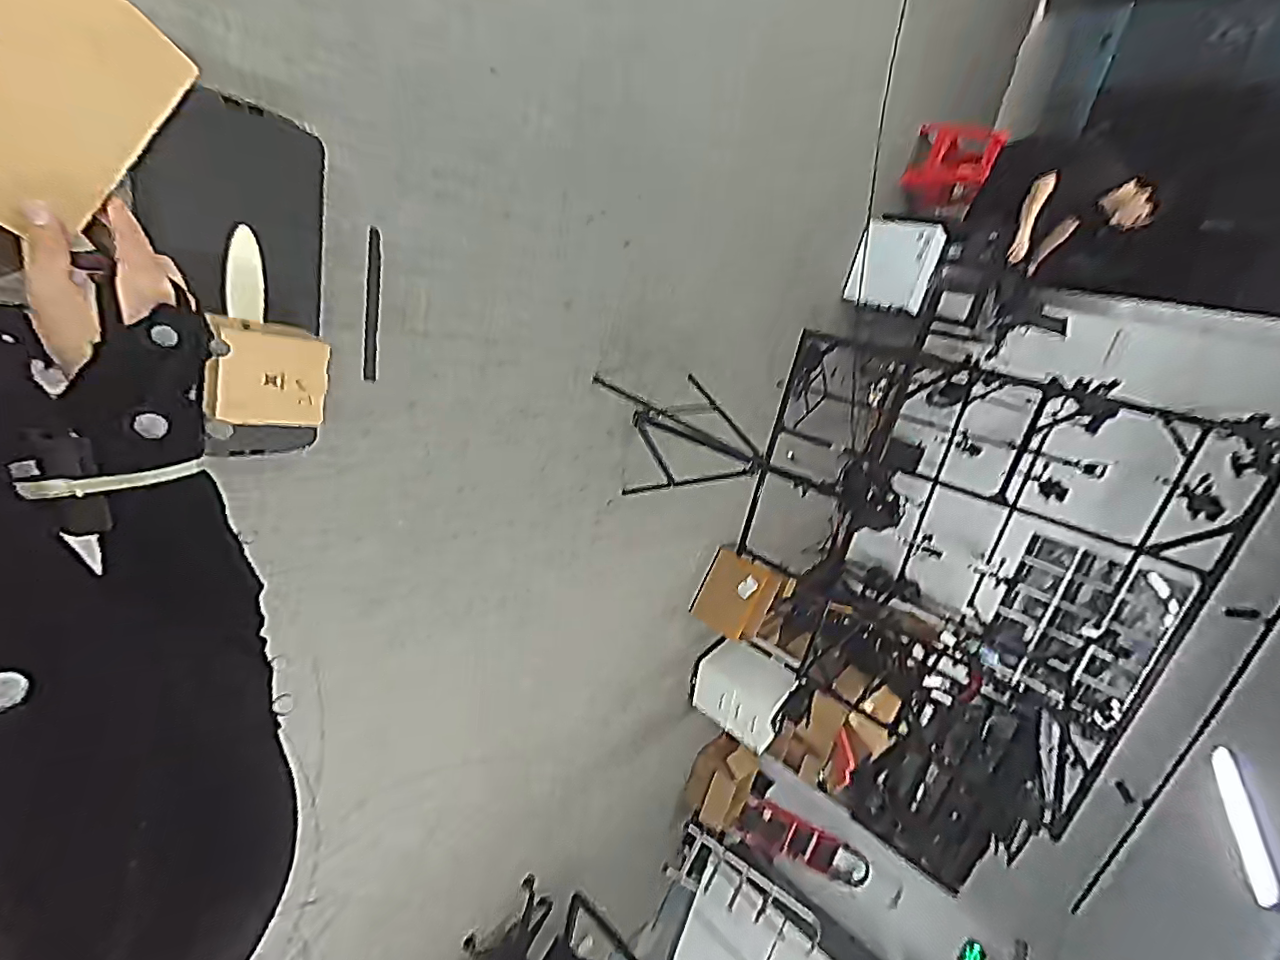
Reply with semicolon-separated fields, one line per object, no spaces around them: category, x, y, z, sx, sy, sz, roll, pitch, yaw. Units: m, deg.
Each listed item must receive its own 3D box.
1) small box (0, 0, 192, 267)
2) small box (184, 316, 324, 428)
small box;-0.425;-0.242;0.308;0.179;0.176;0.168;41;59;-55
small box;-0.736;-0.204;1.028;0.179;0.176;0.168;-3;113;-53
